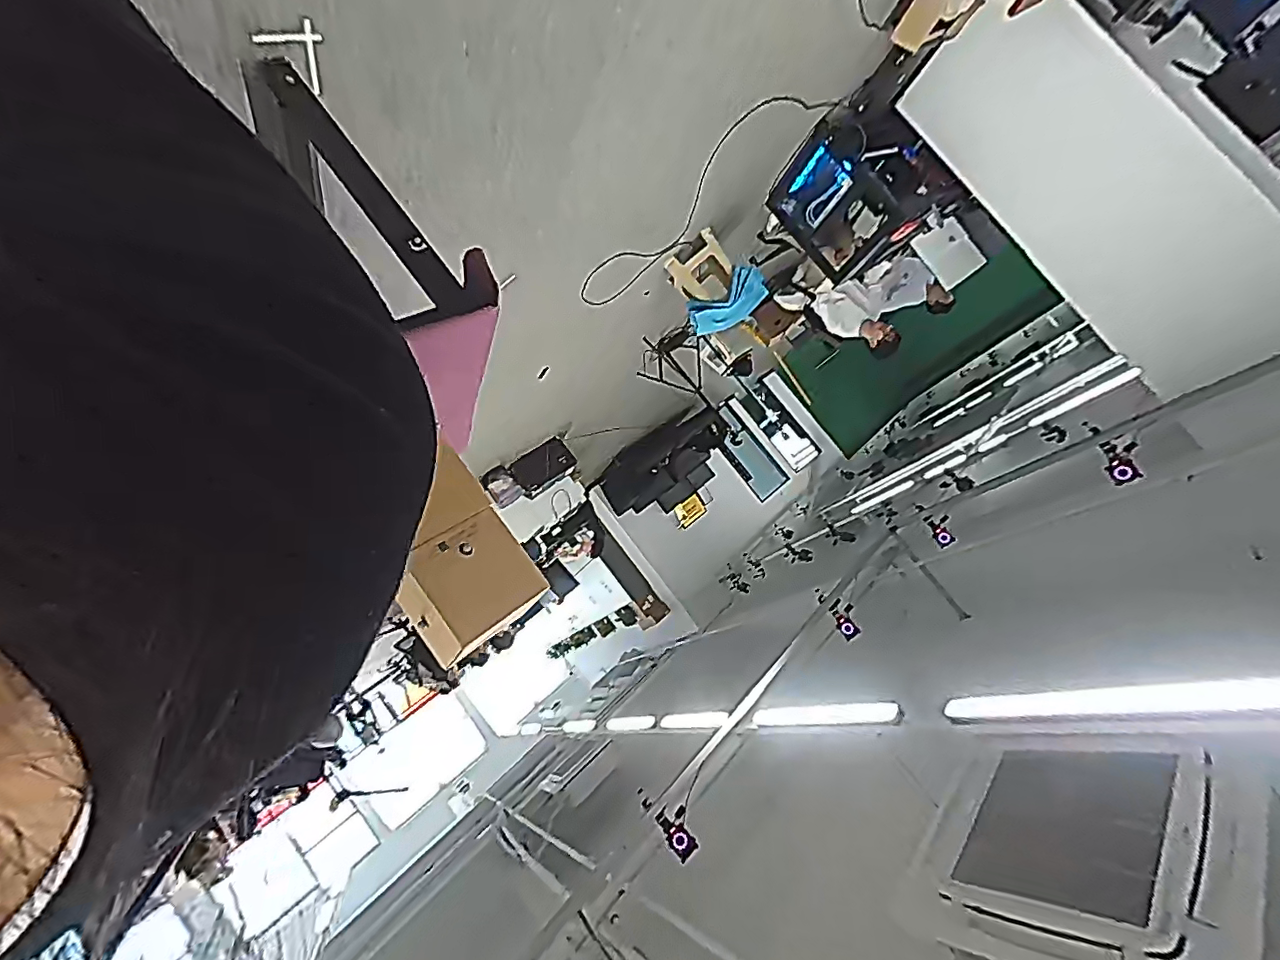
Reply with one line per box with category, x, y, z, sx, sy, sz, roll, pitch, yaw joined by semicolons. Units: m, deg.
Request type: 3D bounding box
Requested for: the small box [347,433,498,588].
small box;-0.373;0.050;0.916;0.168;0.176;0.179;-34;172;-36
